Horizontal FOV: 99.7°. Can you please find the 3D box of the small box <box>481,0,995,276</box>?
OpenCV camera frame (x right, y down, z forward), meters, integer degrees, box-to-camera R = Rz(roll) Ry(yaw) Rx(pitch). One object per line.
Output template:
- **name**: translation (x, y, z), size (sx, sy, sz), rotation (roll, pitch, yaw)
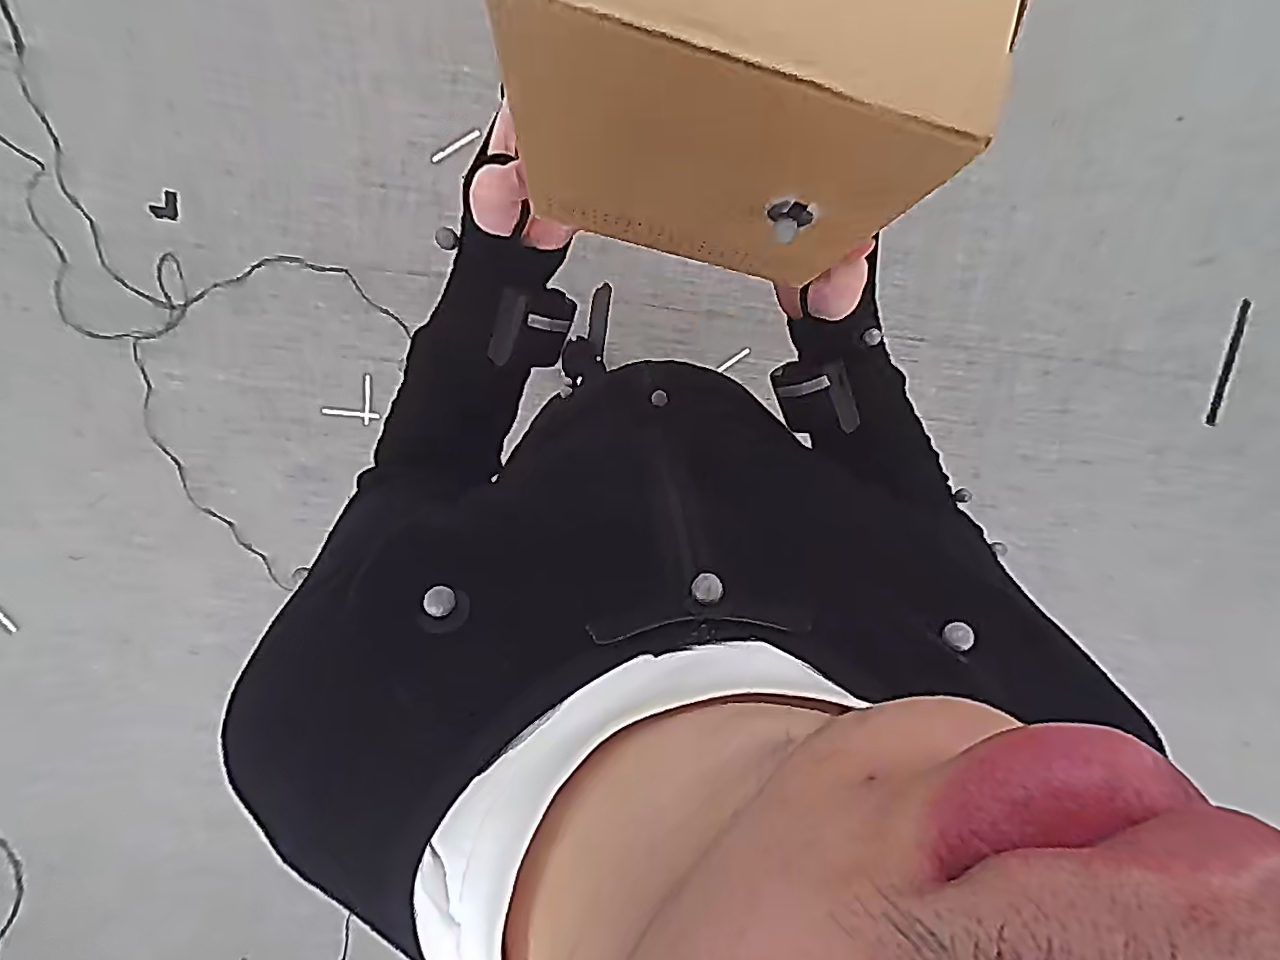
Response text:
- **small box**: translation (0.040, -0.216, 0.262), size (0.179, 0.176, 0.168), rotation (12, 92, -6)
